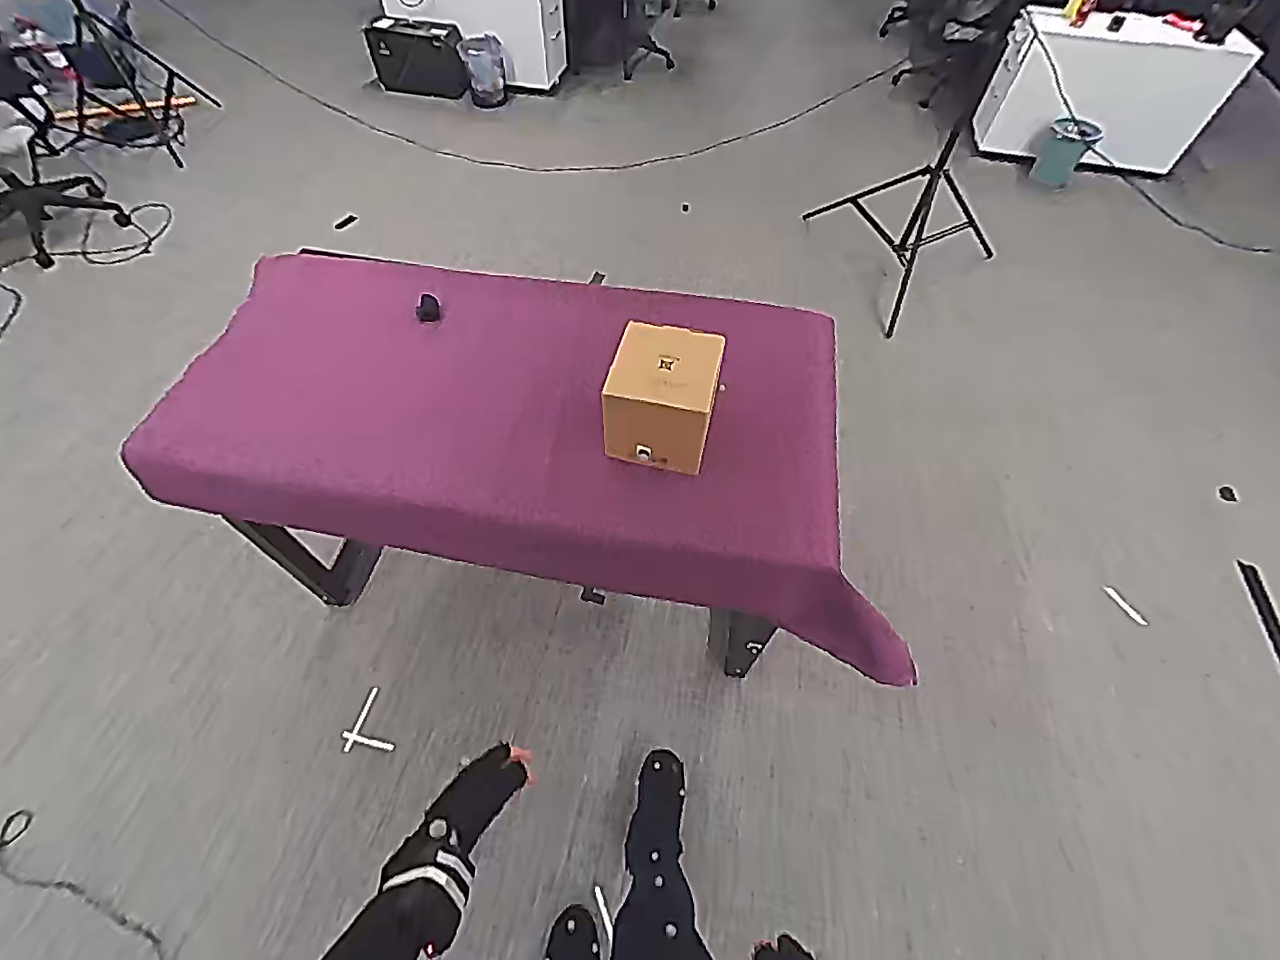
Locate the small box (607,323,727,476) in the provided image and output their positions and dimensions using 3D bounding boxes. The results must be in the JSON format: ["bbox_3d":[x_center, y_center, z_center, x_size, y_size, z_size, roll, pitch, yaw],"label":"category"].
[{"bbox_3d":[0.045,-0.135,0.920,0.168,0.176,0.179,11,56,7],"label":"small box"}]
